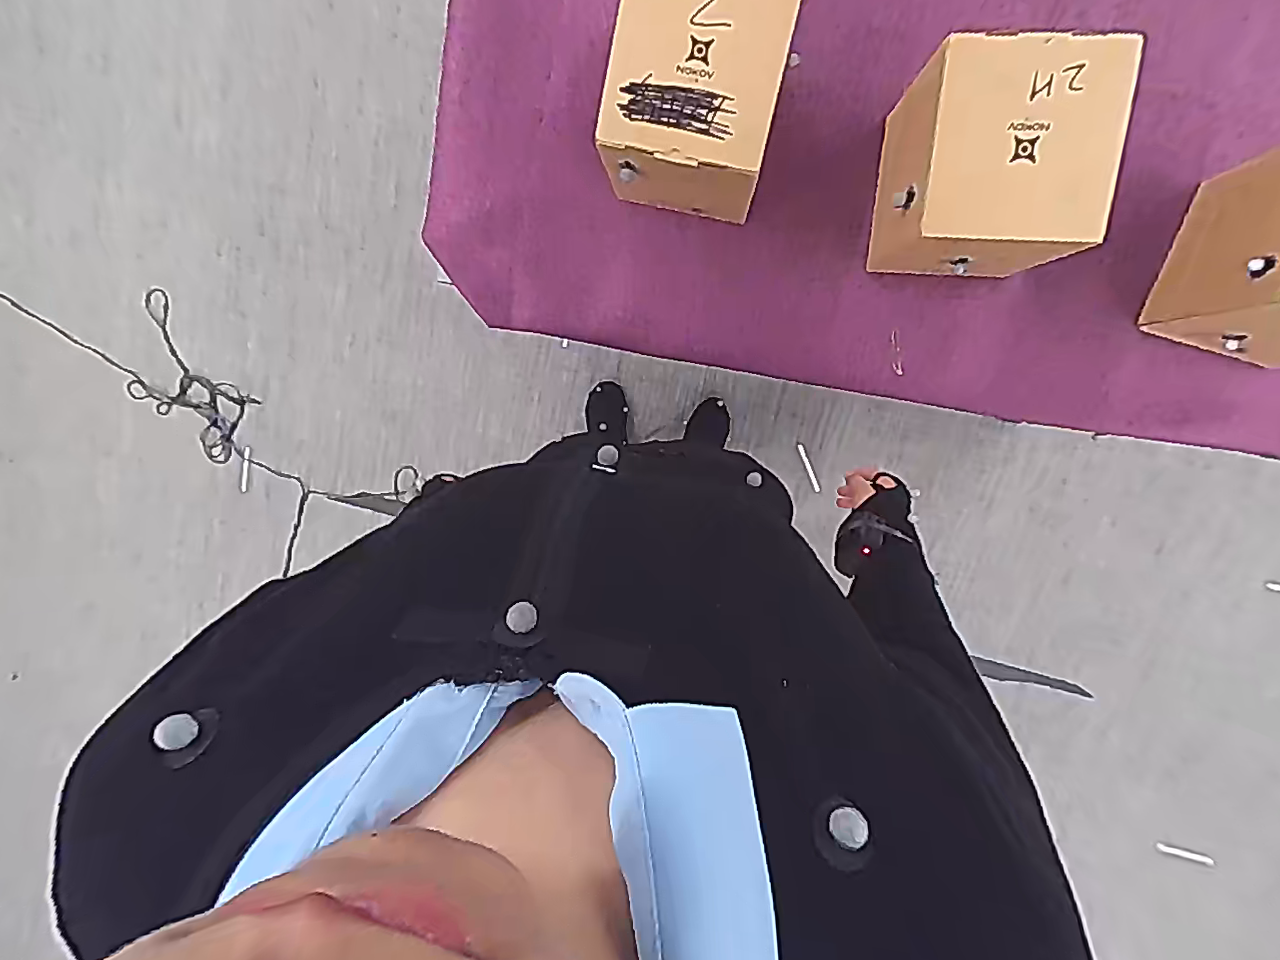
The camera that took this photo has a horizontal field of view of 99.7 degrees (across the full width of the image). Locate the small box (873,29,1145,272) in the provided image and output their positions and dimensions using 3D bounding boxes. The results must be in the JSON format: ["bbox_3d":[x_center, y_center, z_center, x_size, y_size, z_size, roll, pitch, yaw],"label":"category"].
[{"bbox_3d":[0.361,-0.326,0.571,0.168,0.176,0.179,4,100,4],"label":"small box"}]

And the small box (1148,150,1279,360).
[{"bbox_3d":[0.694,-0.234,0.554,0.168,0.176,0.179,18,100,3],"label":"small box"}]
